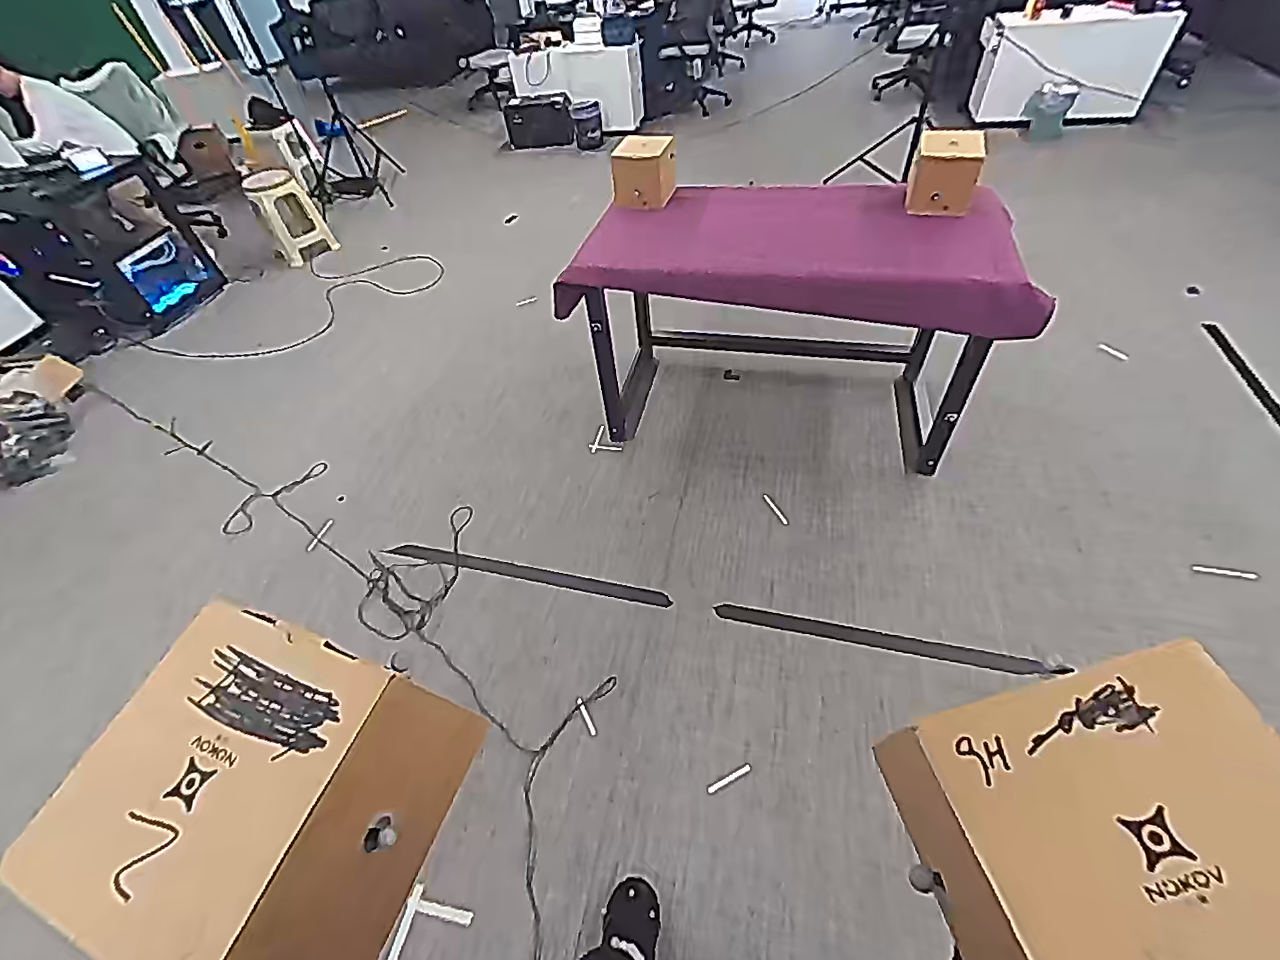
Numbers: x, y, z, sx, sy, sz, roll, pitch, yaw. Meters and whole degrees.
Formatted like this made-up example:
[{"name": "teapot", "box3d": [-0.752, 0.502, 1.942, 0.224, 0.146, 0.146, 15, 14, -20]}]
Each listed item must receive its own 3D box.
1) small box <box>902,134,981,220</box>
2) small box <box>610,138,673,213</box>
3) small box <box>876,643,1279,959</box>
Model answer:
[{"name": "small box", "box3d": [0.893, -0.903, 1.611, 0.168, 0.176, 0.179, 11, 55, 16]}, {"name": "small box", "box3d": [0.012, -1.029, 1.826, 0.168, 0.176, 0.179, 11, 53, 16]}, {"name": "small box", "box3d": [0.273, 0.224, 0.336, 0.168, 0.176, 0.179, -18, 59, 2]}]
